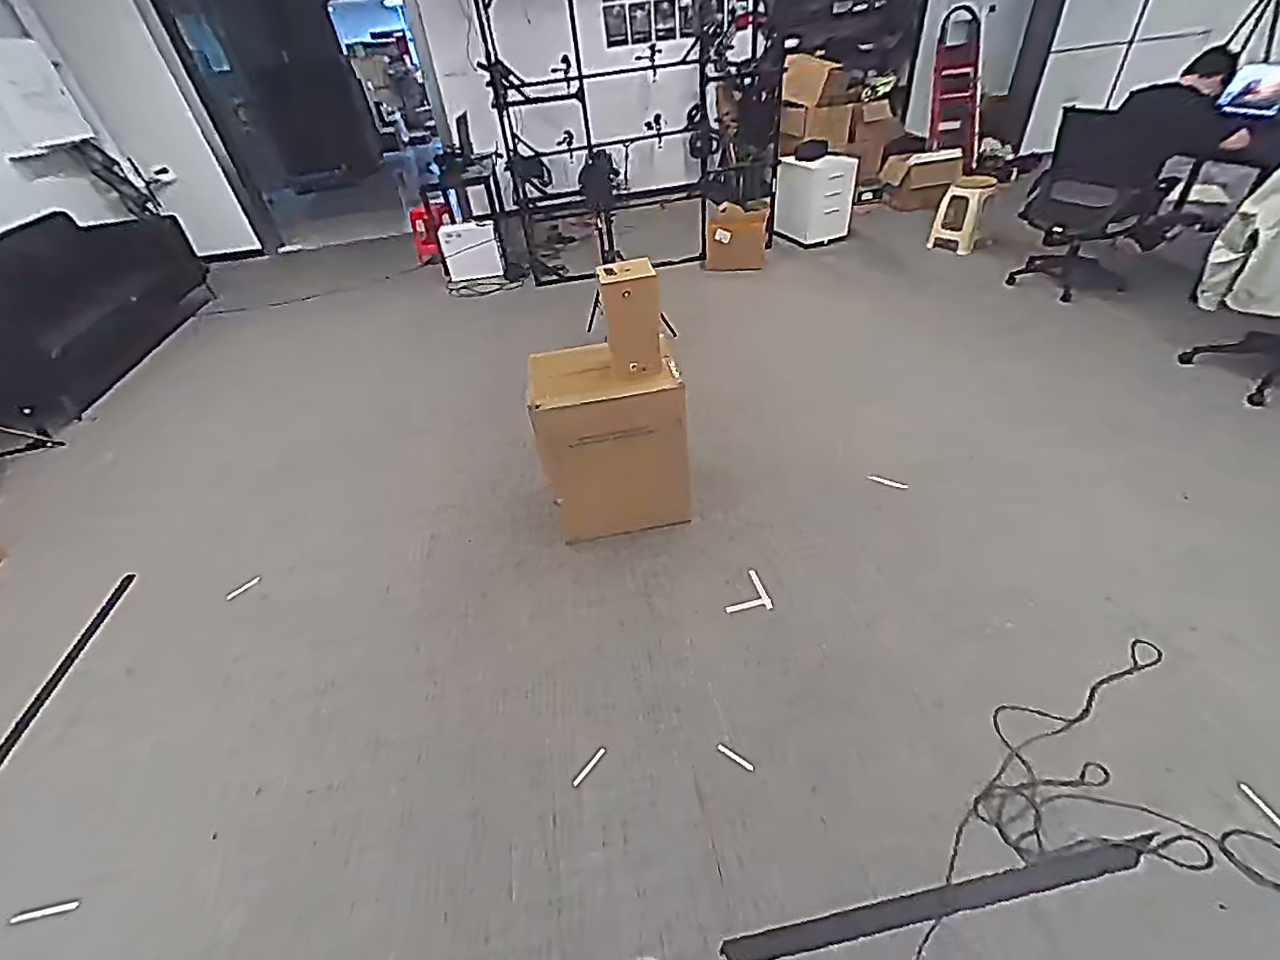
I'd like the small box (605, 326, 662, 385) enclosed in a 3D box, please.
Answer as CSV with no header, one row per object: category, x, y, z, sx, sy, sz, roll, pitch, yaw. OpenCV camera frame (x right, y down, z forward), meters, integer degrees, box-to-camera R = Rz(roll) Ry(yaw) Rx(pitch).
small box,-0.023,-0.450,1.860,0.168,0.176,0.179,-12,41,-3

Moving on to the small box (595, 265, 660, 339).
small box,-0.039,-0.575,1.754,0.179,0.176,0.168,-11,40,-3
